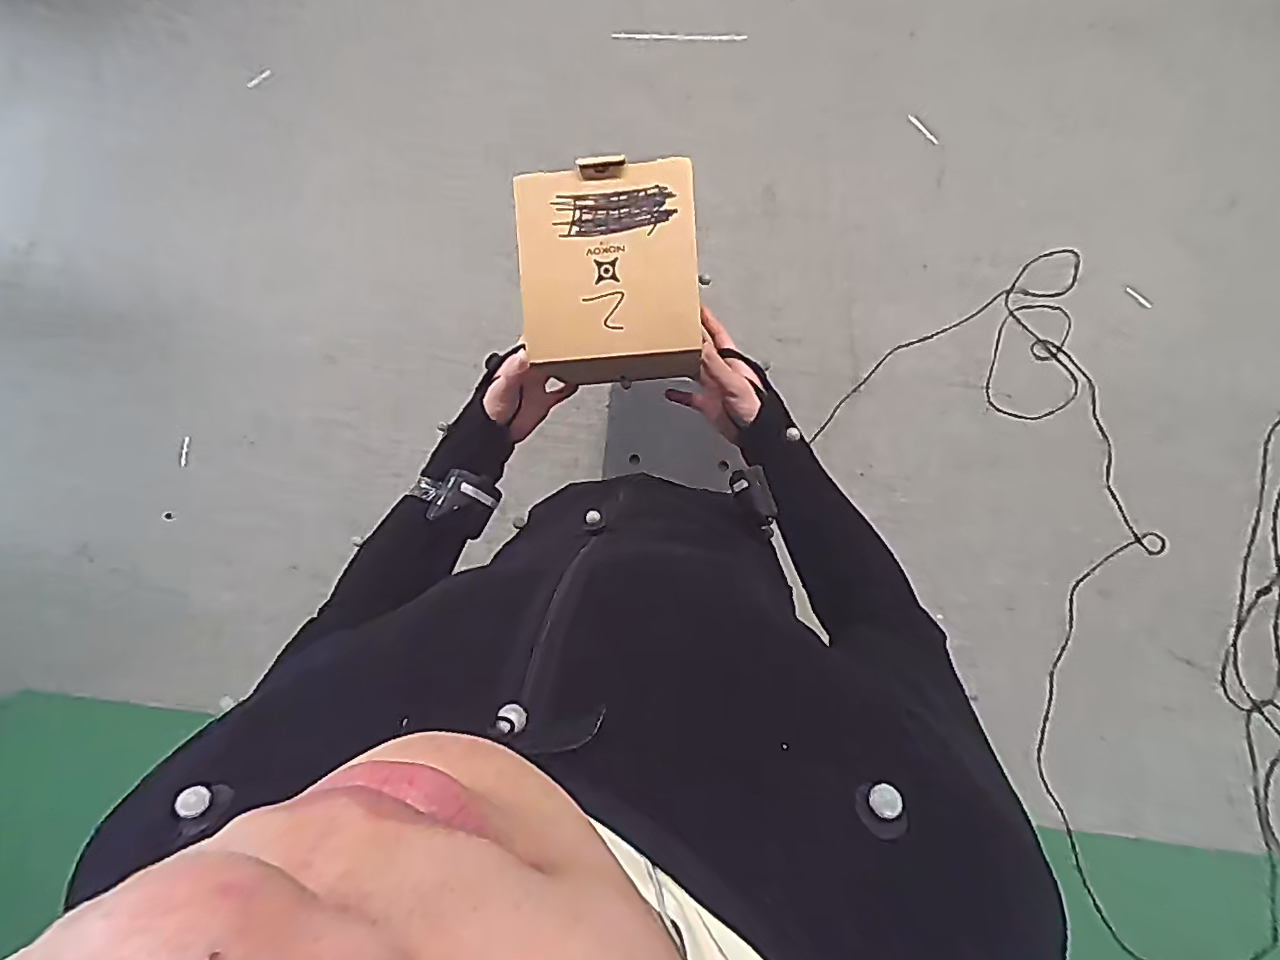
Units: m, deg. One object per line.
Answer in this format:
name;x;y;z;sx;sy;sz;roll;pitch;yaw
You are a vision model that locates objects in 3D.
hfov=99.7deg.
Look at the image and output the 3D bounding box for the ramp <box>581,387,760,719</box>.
ramp;0.110;0.178;1.665;0.509;0.206;0.991;2;84;5
